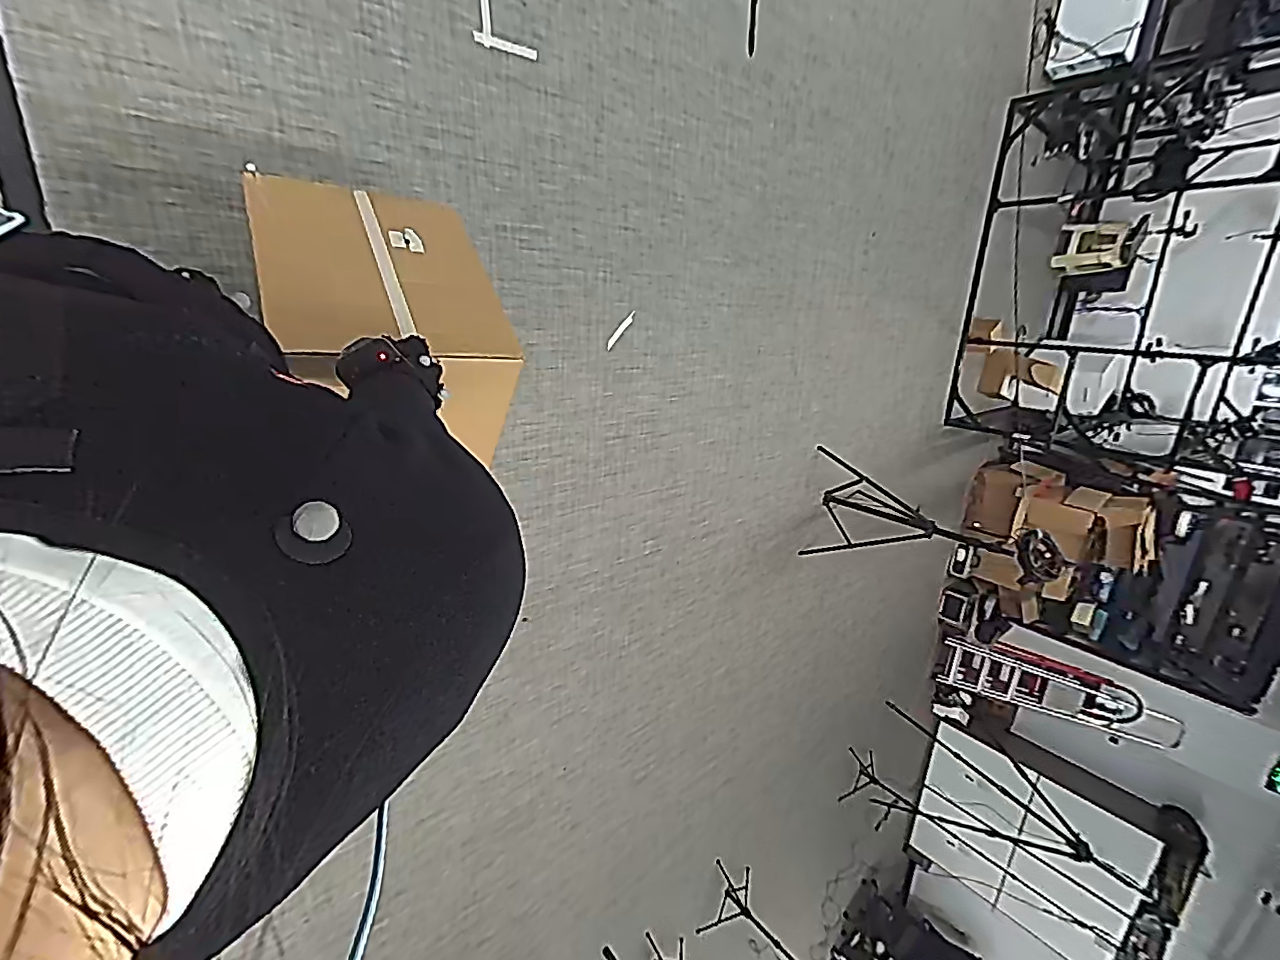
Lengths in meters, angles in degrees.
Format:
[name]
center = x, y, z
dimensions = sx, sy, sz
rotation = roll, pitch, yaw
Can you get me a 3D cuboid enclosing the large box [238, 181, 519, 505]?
[large box]
center = -0.449, -0.221, 0.906
dimensions = 0.320, 0.408, 0.320
rotation = -7, 145, -37
